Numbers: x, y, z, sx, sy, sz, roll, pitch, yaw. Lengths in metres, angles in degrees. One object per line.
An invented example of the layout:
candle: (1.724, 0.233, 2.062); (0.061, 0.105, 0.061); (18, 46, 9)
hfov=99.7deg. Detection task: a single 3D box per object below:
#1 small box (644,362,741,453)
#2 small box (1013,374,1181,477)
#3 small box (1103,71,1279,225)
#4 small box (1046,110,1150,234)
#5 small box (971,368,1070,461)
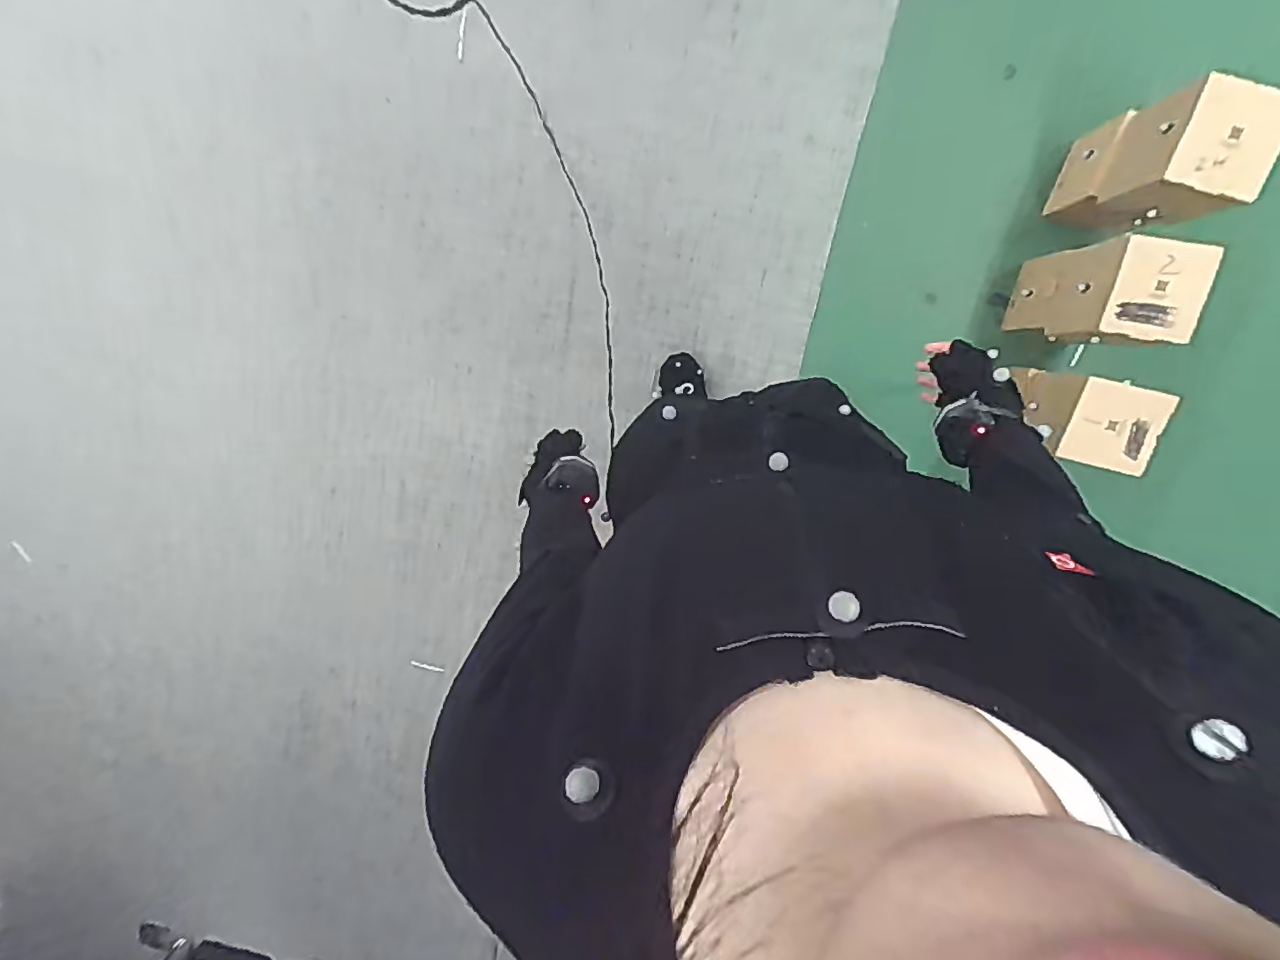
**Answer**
small box: (0.129, -0.190, 1.385); (0.179, 0.176, 0.168); (31, 117, 17)
small box: (0.937, -0.121, 1.128); (0.179, 0.176, 0.168); (15, 104, 2)
small box: (1.031, -0.607, 1.011); (0.168, 0.176, 0.179); (17, 103, 2)
small box: (1.040, -0.653, 1.170); (0.179, 0.176, 0.168); (18, 103, 1)
small box: (0.929, -0.161, 1.288); (0.168, 0.176, 0.179); (16, 103, 2)
